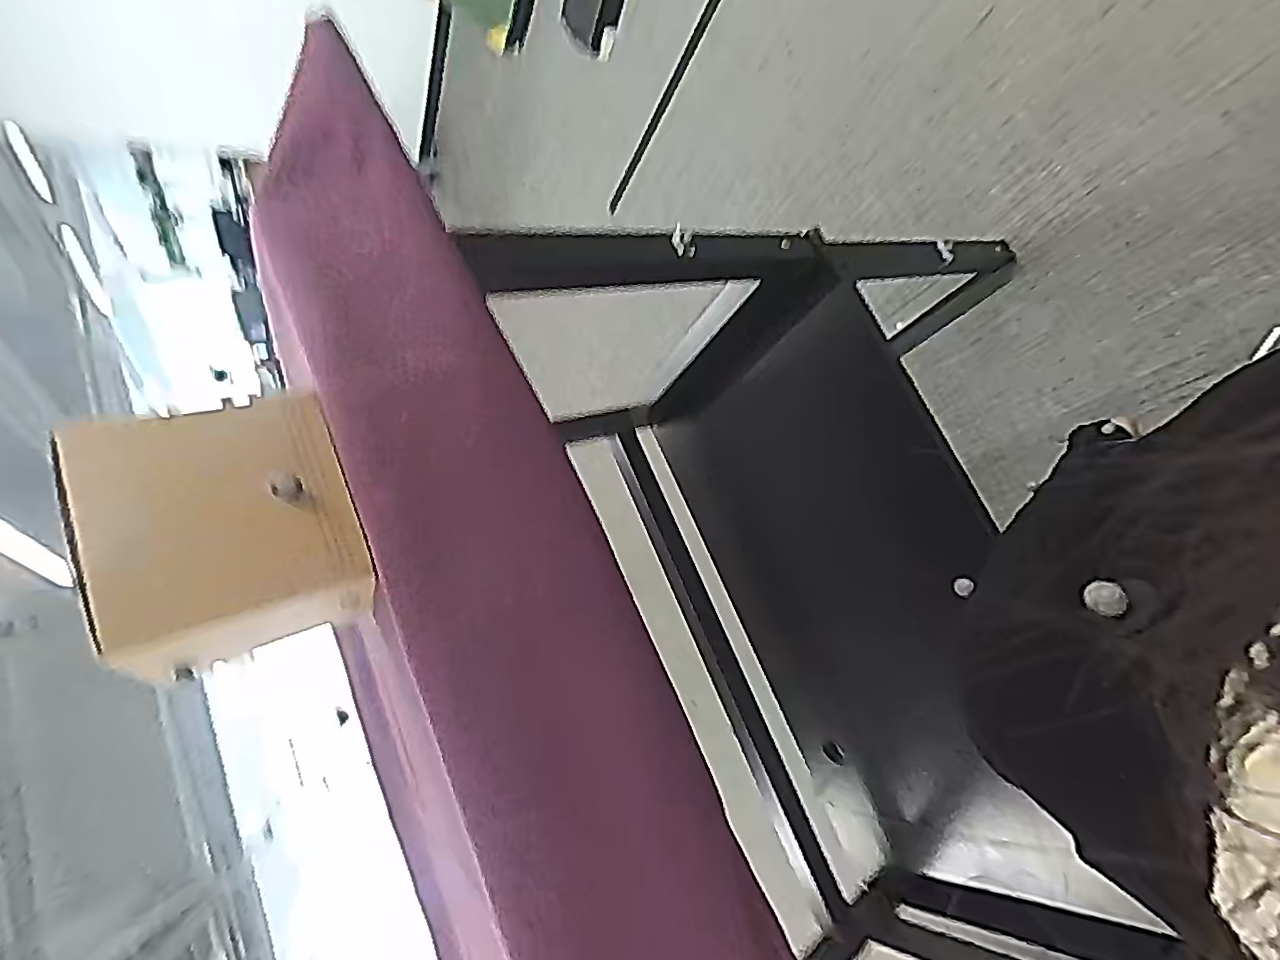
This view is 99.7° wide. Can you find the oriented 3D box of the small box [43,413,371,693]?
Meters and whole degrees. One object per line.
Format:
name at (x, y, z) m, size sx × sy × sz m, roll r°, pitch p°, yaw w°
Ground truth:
small box at (-0.346, 0.057, 0.462) m, size 0.168 × 0.176 × 0.179 m, roll -45°, pitch 67°, yaw 54°
